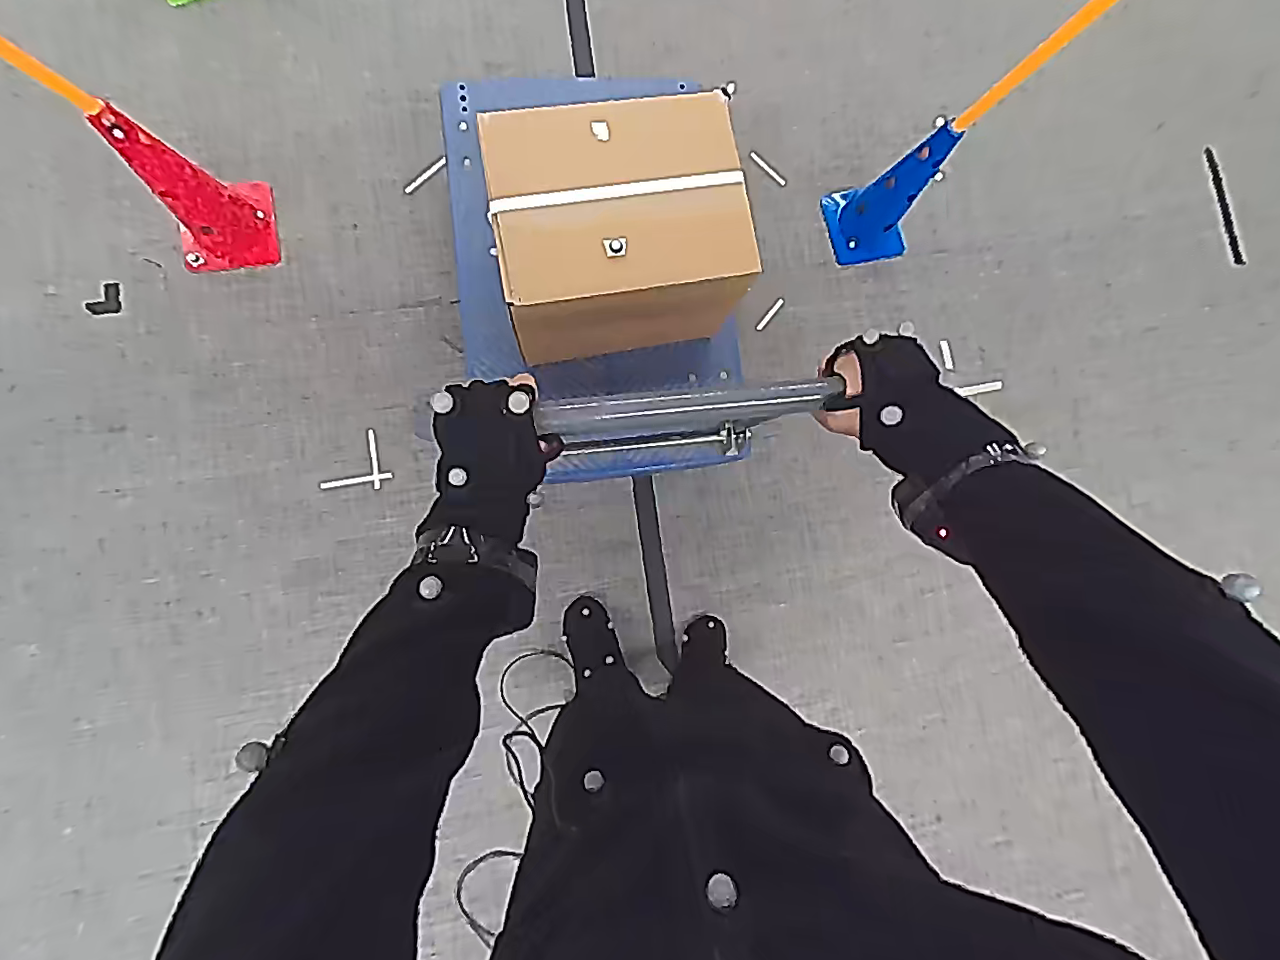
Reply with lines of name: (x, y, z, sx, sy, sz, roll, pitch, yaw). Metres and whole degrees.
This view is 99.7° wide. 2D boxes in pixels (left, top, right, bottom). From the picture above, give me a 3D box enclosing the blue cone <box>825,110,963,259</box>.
blue cone: (0.616, -0.698, 1.269, 0.193, 0.380, 0.192, -12, 85, -9)
